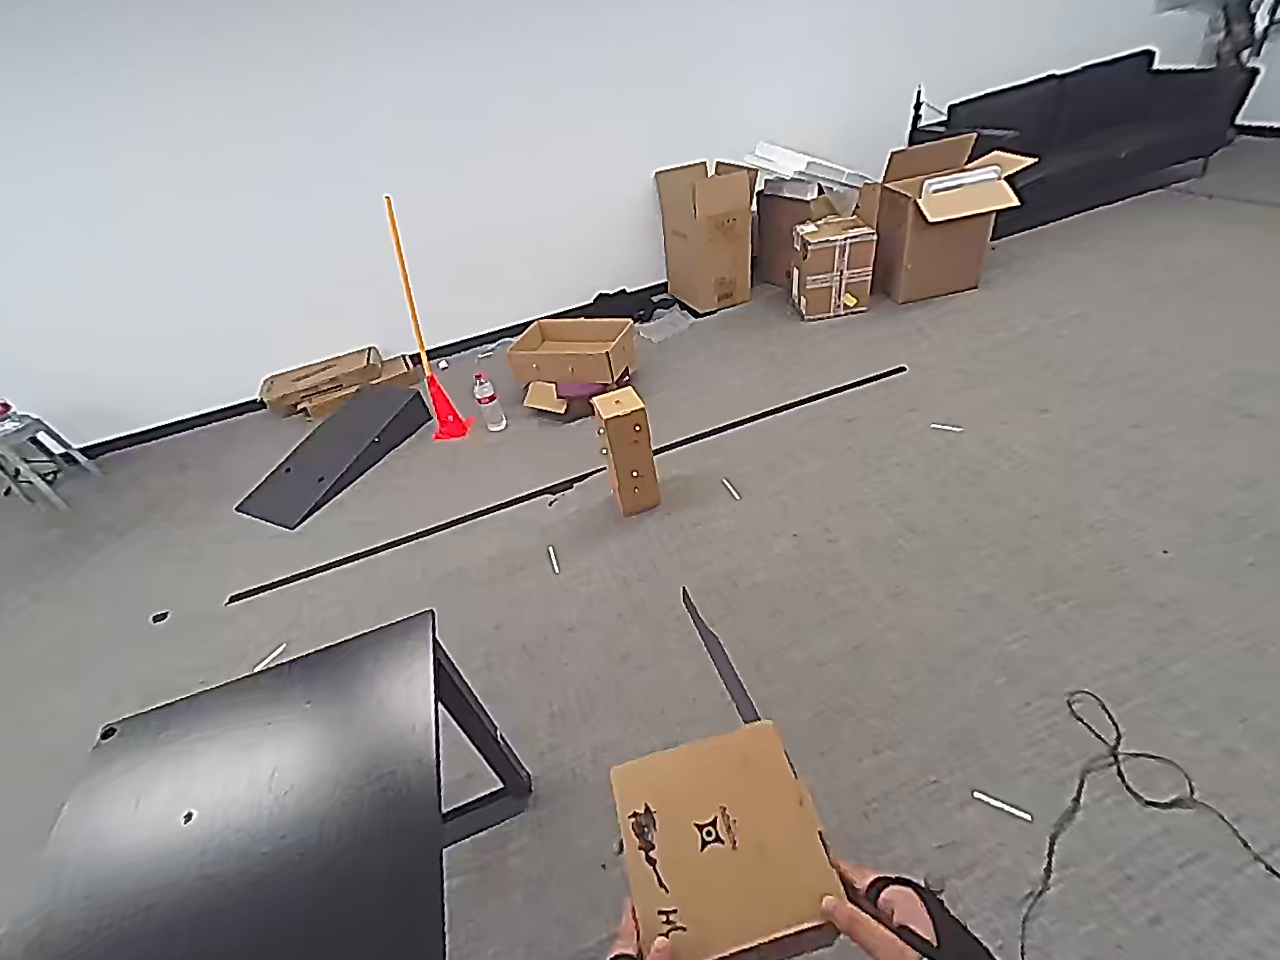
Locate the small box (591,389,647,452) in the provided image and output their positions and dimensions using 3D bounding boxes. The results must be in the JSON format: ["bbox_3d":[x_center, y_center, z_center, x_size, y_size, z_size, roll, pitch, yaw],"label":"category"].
[{"bbox_3d":[-0.079,-0.226,2.103,0.168,0.176,0.179,-18,39,-11],"label":"small box"}]

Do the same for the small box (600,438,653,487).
[{"bbox_3d":[-0.057,-0.100,2.203,0.168,0.176,0.179,-18,40,-9],"label":"small box"}]

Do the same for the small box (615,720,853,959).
[{"bbox_3d":[0.083,0.376,0.545,0.179,0.176,0.168,-14,42,-5],"label":"small box"}]

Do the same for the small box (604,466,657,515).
[{"bbox_3d":[-0.037,0.023,2.310,0.179,0.176,0.168,-18,40,-10],"label":"small box"}]
